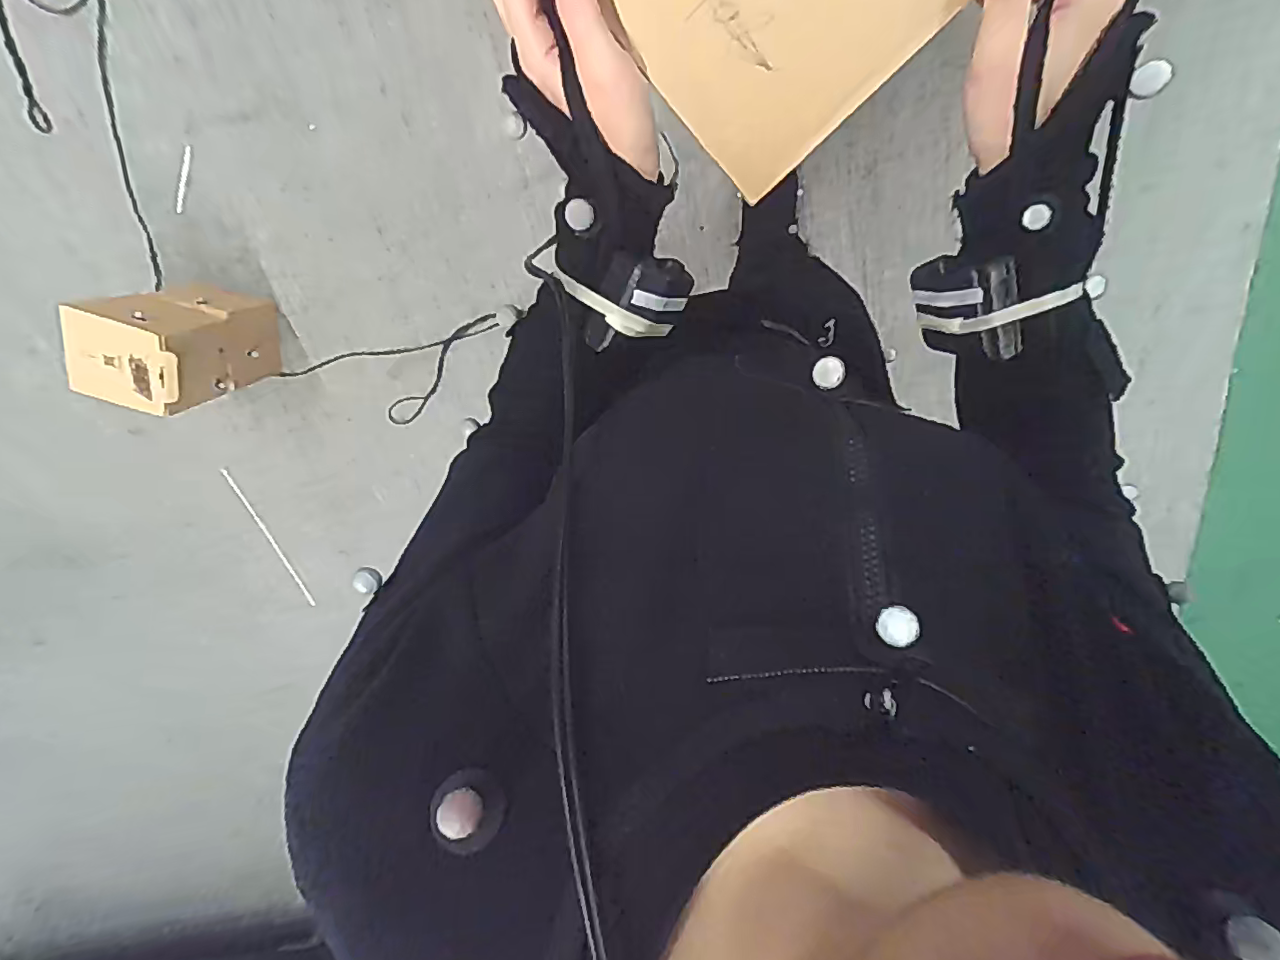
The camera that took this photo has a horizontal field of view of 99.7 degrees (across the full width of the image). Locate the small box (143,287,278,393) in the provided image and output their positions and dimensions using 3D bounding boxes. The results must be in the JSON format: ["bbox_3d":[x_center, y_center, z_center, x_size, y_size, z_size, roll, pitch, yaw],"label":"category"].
[{"bbox_3d":[-0.941,-0.317,1.205,0.168,0.176,0.179,12,115,-4],"label":"small box"}]

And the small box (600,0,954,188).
[{"bbox_3d":[0.066,-0.306,0.283,0.168,0.176,0.179,34,126,-30],"label":"small box"}]

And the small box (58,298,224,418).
[{"bbox_3d":[-0.955,-0.245,1.056,0.179,0.176,0.168,17,114,-6],"label":"small box"}]
